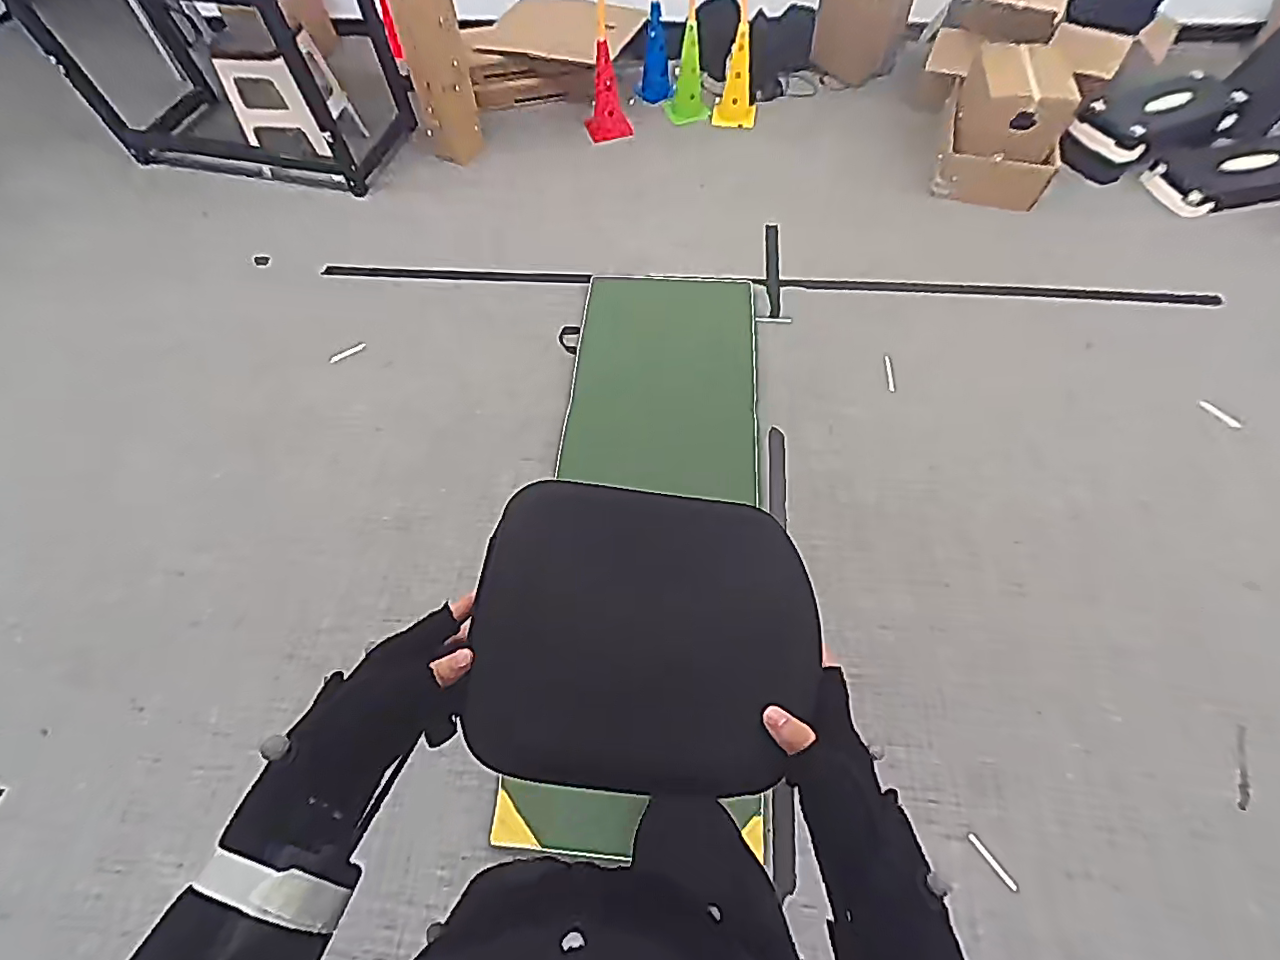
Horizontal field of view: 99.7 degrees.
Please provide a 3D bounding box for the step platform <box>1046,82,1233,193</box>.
[{"bbox_3d":[2.147,-1.480,2.328,0.684,0.204,0.286,-22,63,-10],"label":"step platform"}]
